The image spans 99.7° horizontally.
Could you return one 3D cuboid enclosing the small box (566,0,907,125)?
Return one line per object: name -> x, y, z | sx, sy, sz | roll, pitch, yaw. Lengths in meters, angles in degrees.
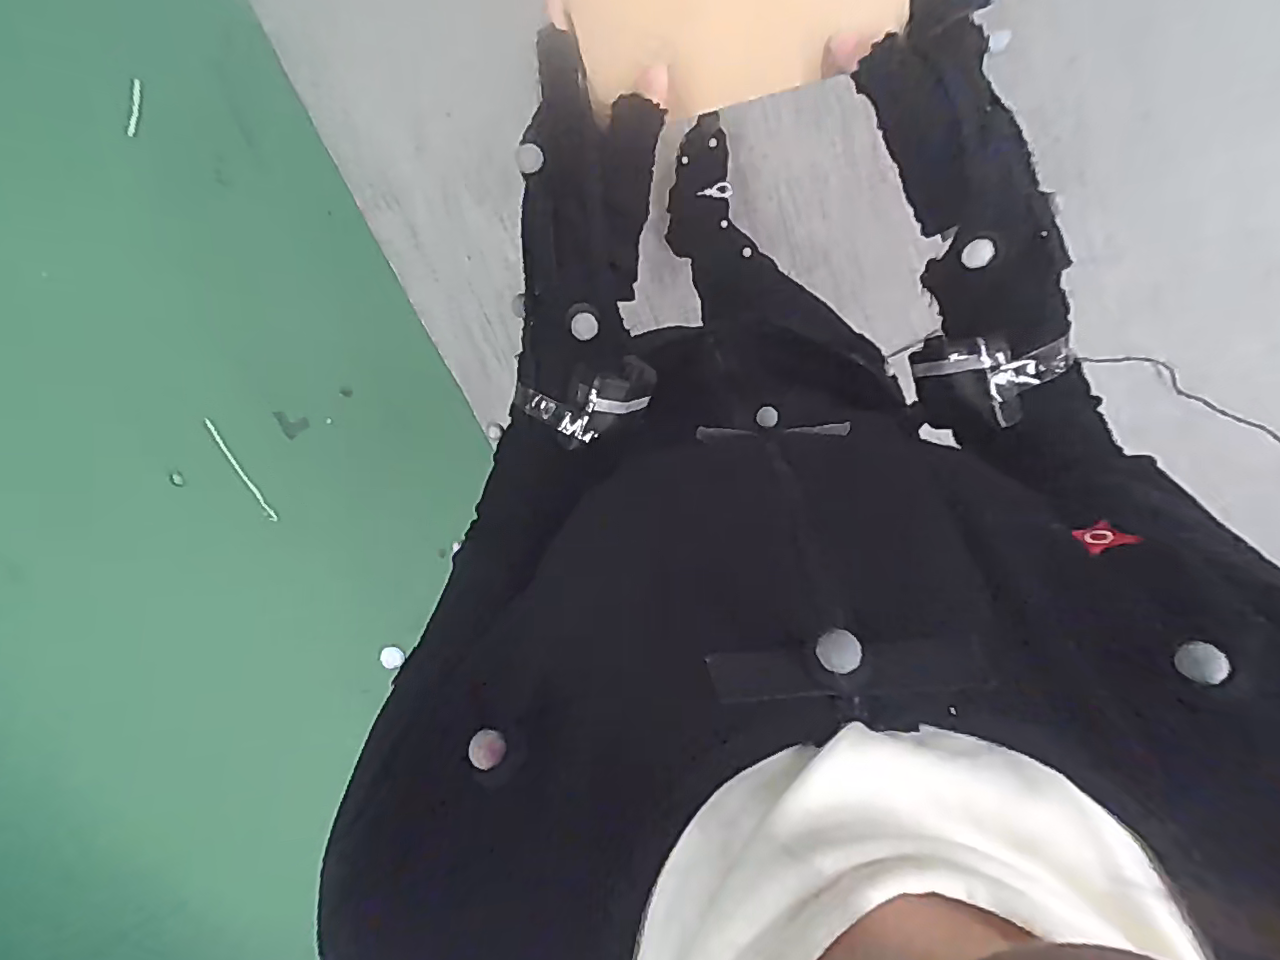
small box -> 0.040, -0.336, 0.331 | 0.179, 0.176, 0.168 | -14, 121, 9
